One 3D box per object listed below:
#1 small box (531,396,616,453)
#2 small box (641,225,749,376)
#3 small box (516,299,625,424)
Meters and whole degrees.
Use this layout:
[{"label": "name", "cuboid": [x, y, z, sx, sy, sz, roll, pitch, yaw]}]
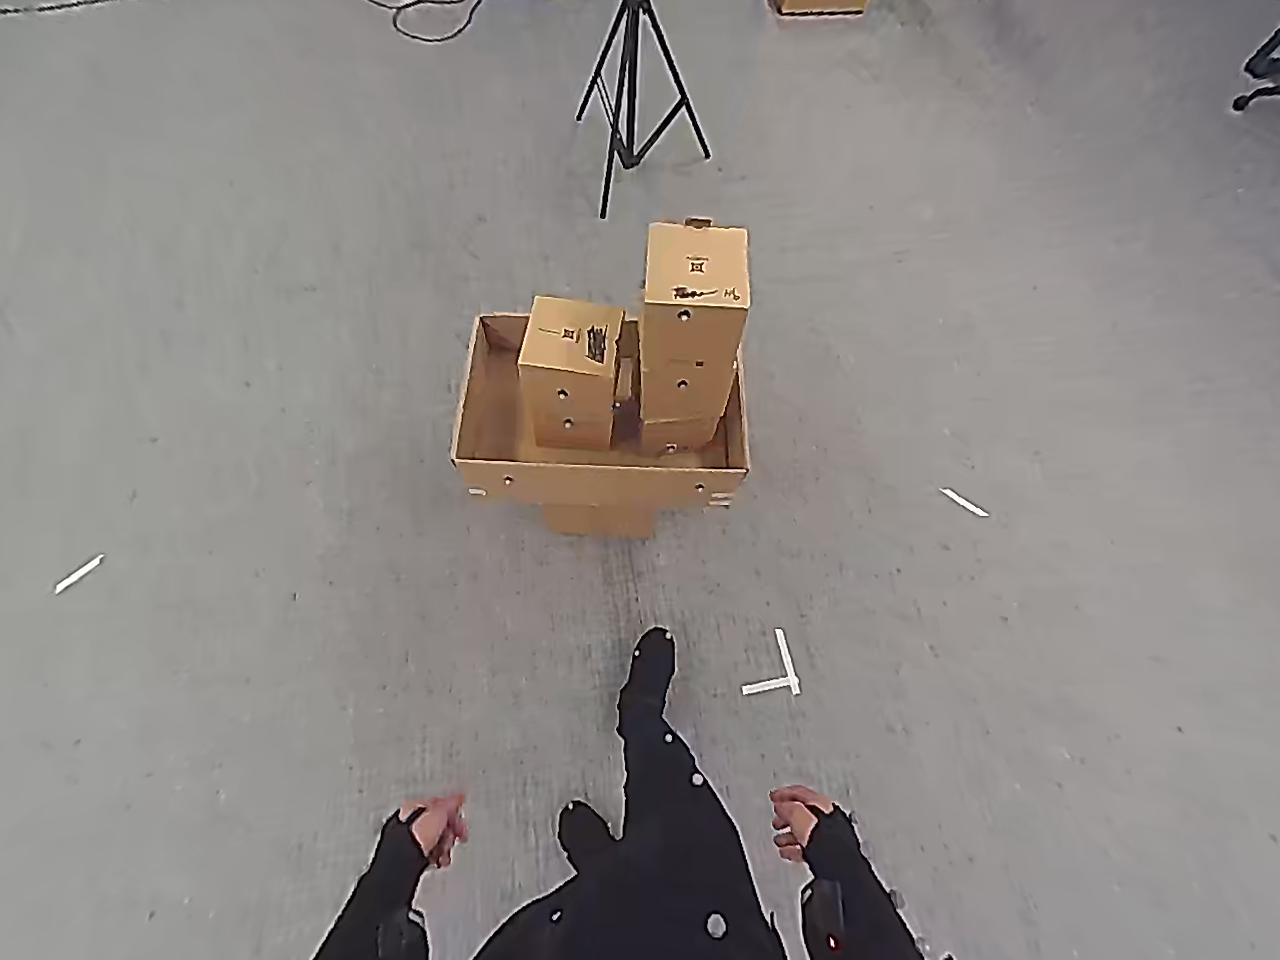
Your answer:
[{"label": "small box", "cuboid": [-0.144, -0.171, 1.222, 0.179, 0.176, 0.168, 3, 65, -3]}, {"label": "small box", "cuboid": [0.088, -0.304, 0.929, 0.168, 0.176, 0.179, 3, 64, 1]}, {"label": "small box", "cuboid": [-0.129, -0.225, 1.067, 0.179, 0.176, 0.168, 8, 65, 0]}]
